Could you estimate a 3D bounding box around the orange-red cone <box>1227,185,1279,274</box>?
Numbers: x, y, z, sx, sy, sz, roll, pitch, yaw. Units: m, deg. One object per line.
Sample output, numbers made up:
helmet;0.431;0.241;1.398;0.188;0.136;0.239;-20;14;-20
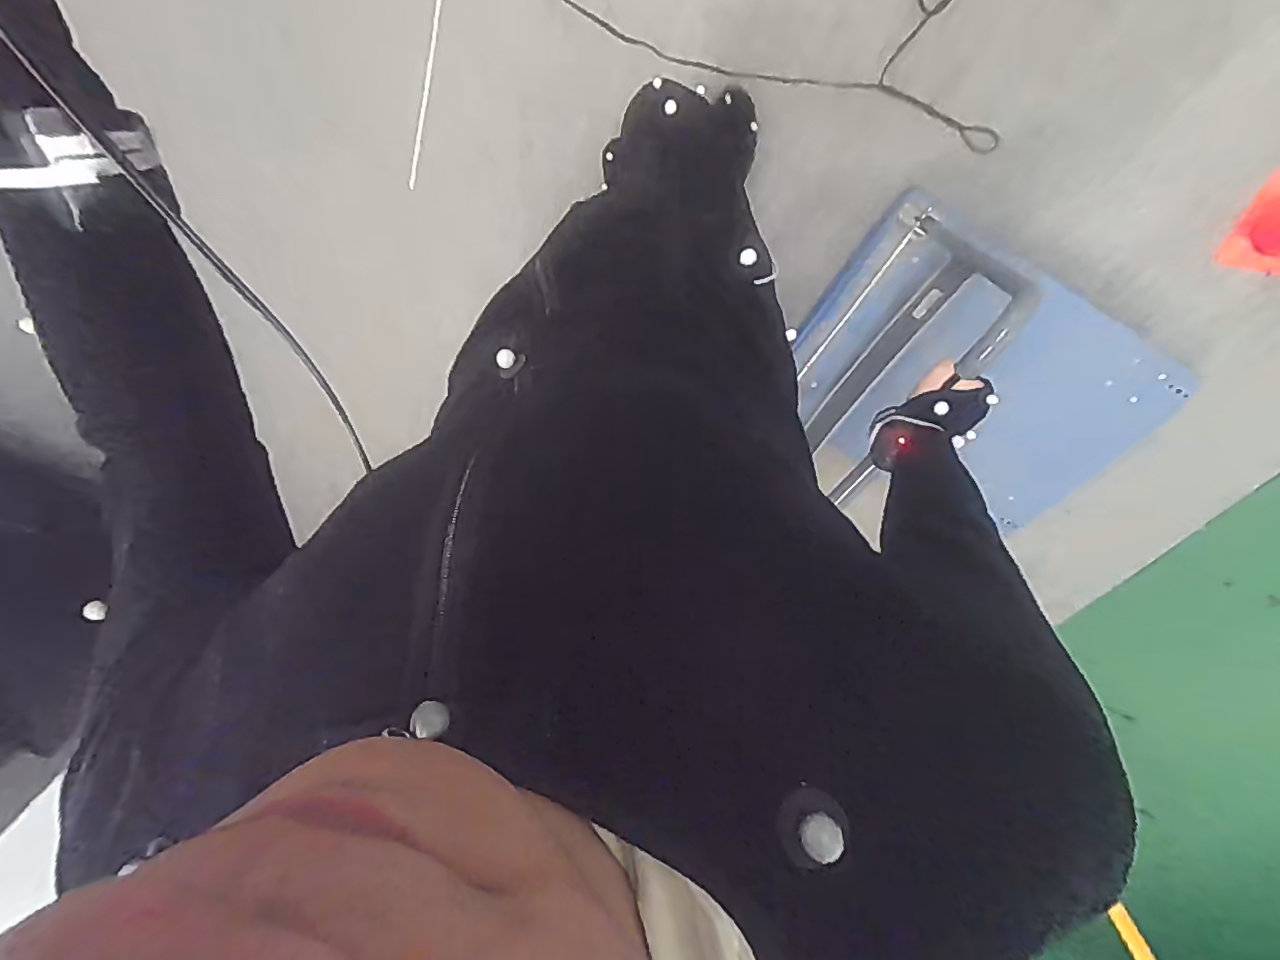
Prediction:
orange-red cone;1.435;-0.468;1.054;0.198;0.360;0.199;12;124;0
